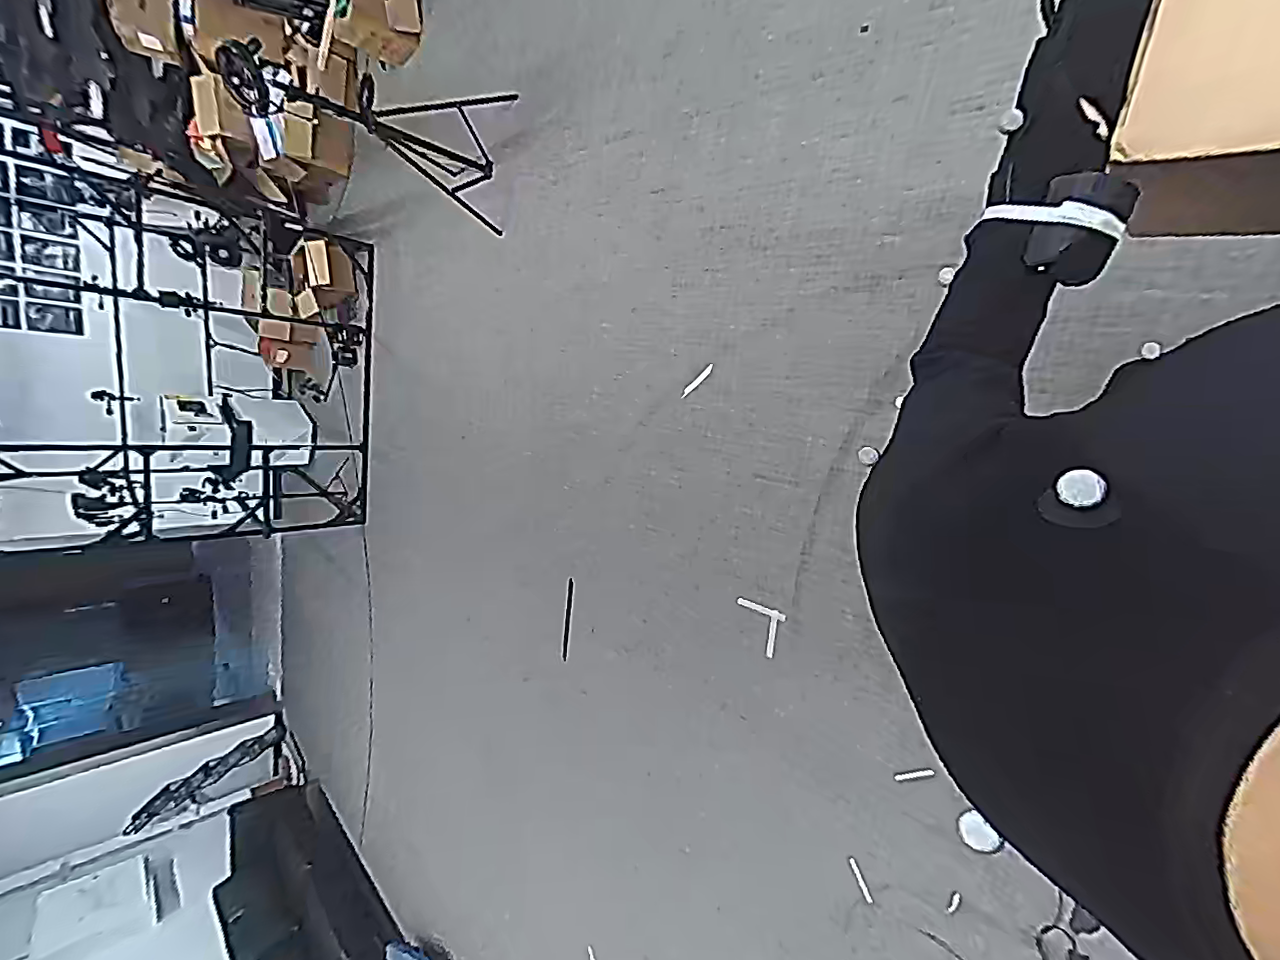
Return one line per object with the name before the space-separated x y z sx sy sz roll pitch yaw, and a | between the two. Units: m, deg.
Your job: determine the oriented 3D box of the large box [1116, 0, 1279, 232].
large box | 0.597 -0.354 0.331 0.408 0.320 0.320 19 112 40
